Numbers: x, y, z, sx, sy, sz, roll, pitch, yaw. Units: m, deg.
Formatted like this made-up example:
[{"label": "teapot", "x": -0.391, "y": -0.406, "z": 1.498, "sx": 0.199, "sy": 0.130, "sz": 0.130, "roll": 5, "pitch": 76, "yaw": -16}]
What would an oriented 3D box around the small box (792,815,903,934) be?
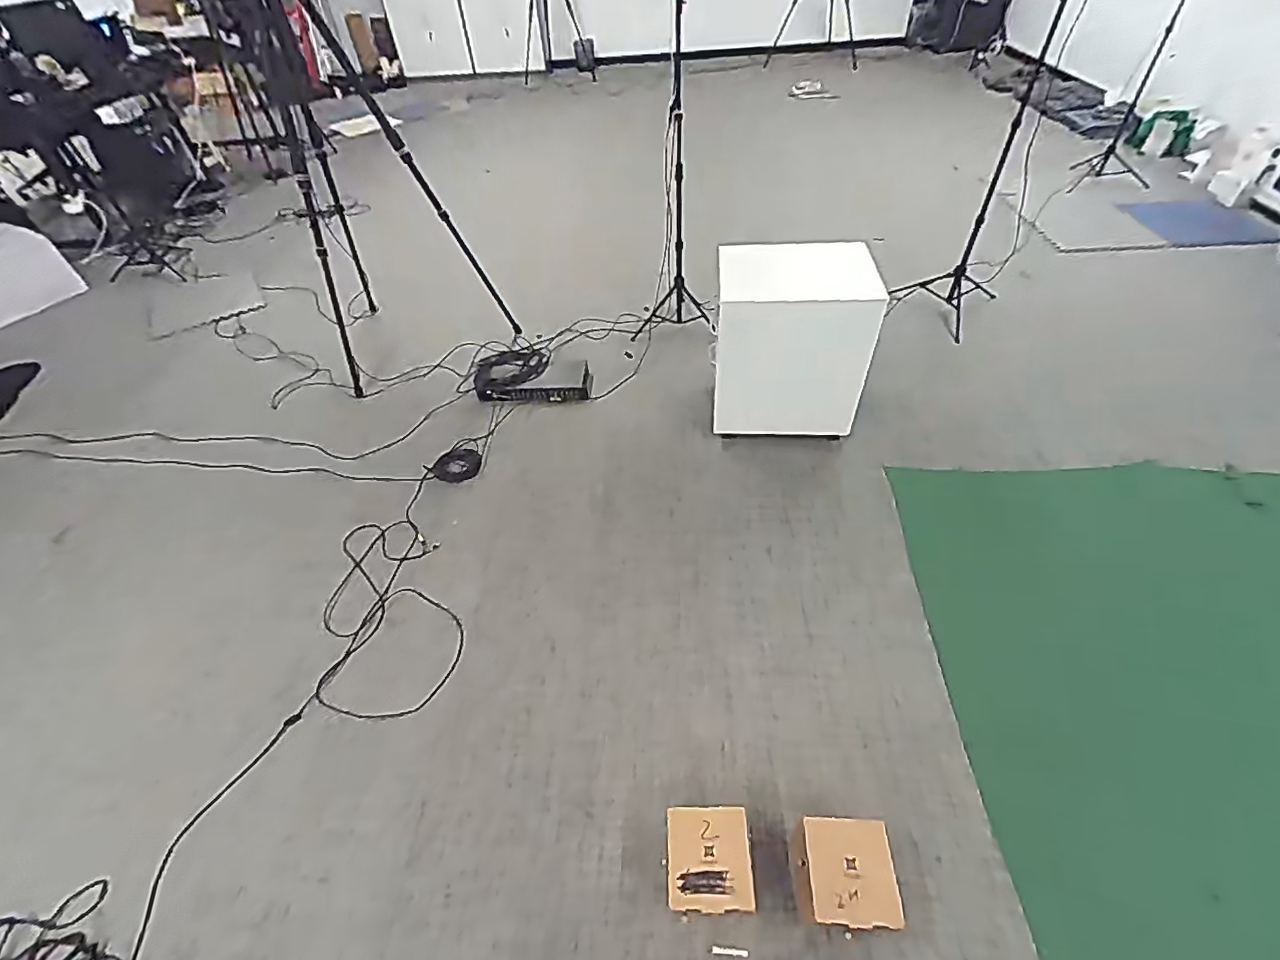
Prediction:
[{"label": "small box", "x": 0.419, "y": 0.820, "z": 1.125, "sx": 0.168, "sy": 0.176, "sz": 0.179, "roll": 0, "pitch": 48, "yaw": 5}]
